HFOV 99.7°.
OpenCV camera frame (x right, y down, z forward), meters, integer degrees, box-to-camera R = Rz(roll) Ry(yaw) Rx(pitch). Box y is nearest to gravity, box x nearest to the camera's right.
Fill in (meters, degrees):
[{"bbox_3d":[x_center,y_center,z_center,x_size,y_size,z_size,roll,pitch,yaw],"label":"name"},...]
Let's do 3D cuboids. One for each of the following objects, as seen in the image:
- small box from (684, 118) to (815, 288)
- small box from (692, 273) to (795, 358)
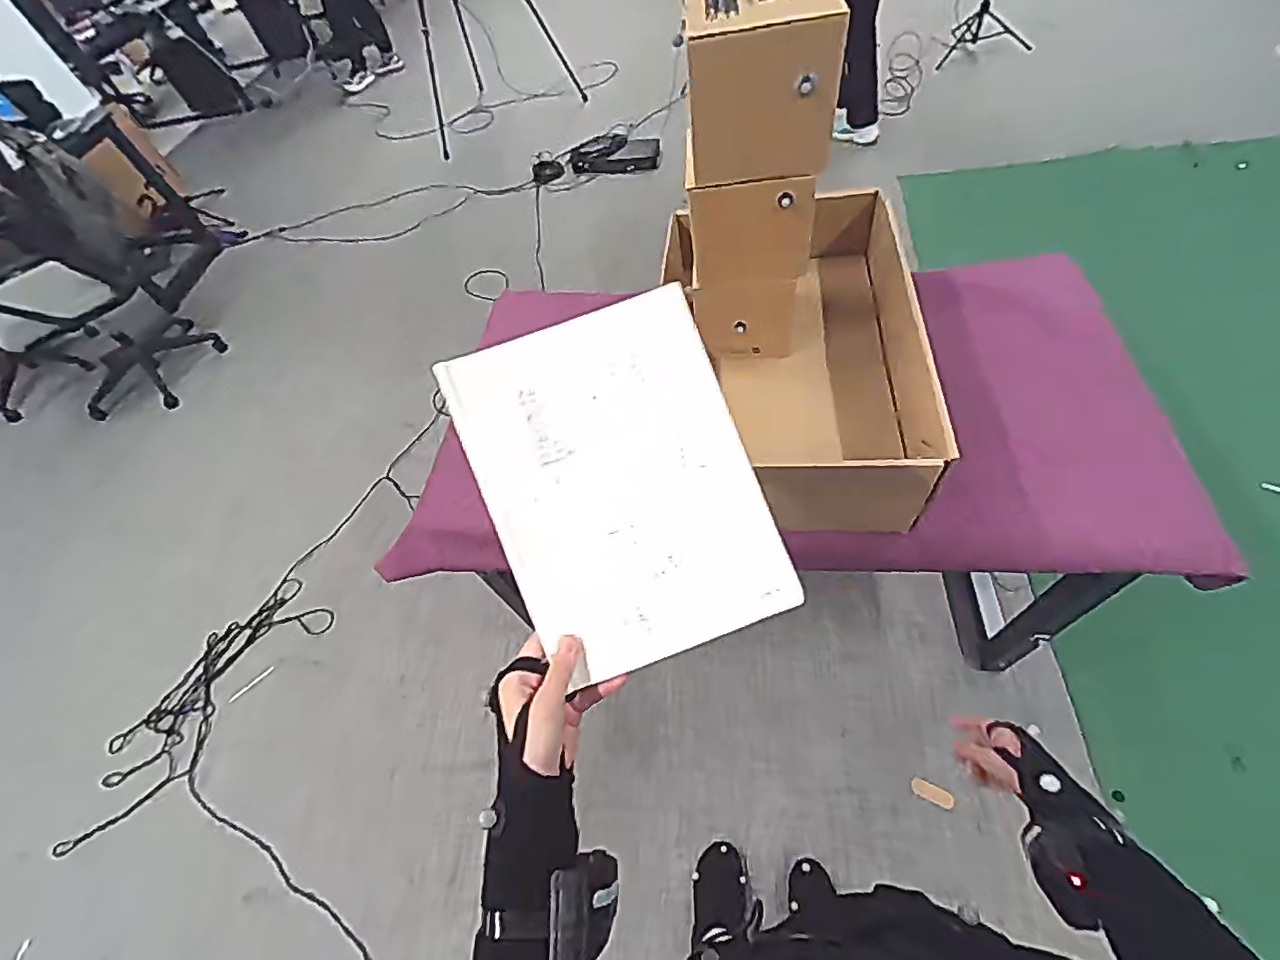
[{"bbox_3d":[0.164,-0.416,0.830,0.179,0.176,0.168,-2,57,10],"label":"small box"},{"bbox_3d":[0.187,-0.332,0.966,0.168,0.176,0.179,0,58,11],"label":"small box"}]
